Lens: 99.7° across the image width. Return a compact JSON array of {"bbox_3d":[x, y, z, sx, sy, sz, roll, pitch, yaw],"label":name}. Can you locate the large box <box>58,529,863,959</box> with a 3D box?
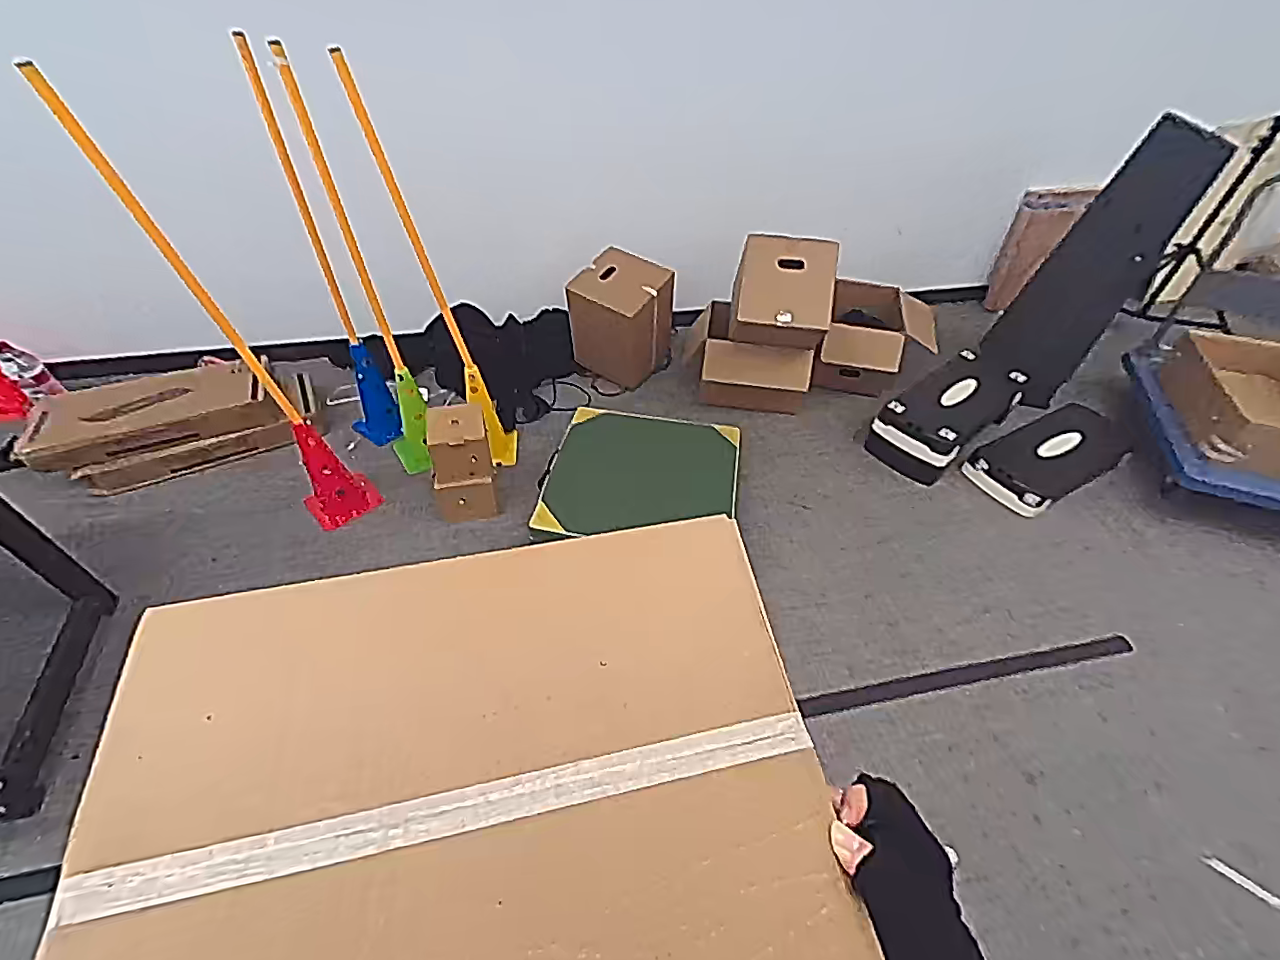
[{"bbox_3d":[-0.104,0.274,0.436,0.408,0.320,0.320,-9,56,-8],"label":"large box"}]
